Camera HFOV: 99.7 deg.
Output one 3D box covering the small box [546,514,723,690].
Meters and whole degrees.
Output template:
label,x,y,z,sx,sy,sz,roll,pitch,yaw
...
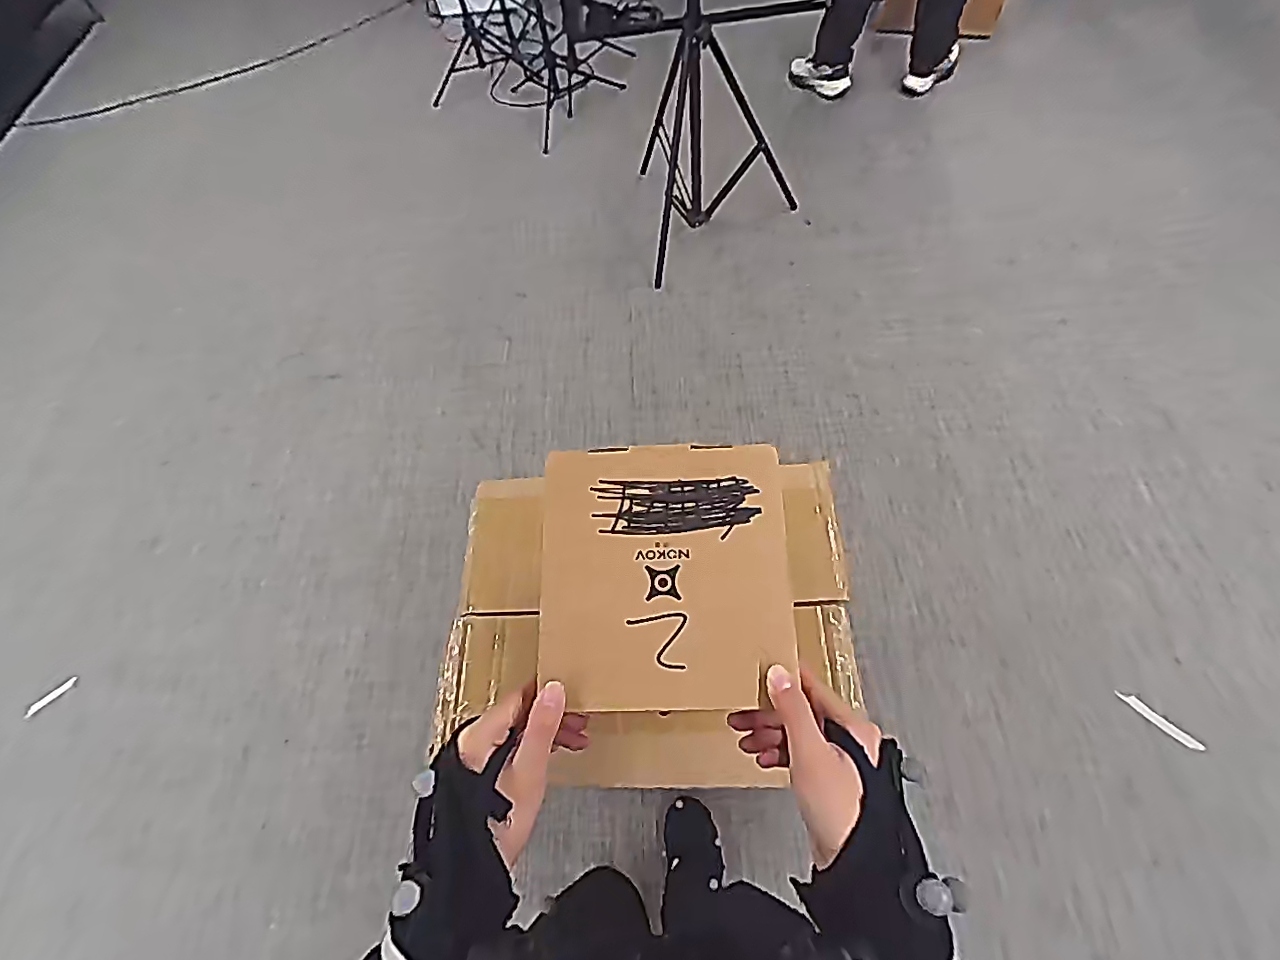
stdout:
label,x,y,z,sx,sy,sz,roll,pitch,yaw
small box,0.004,0.148,0.626,0.179,0.176,0.168,-2,64,5
